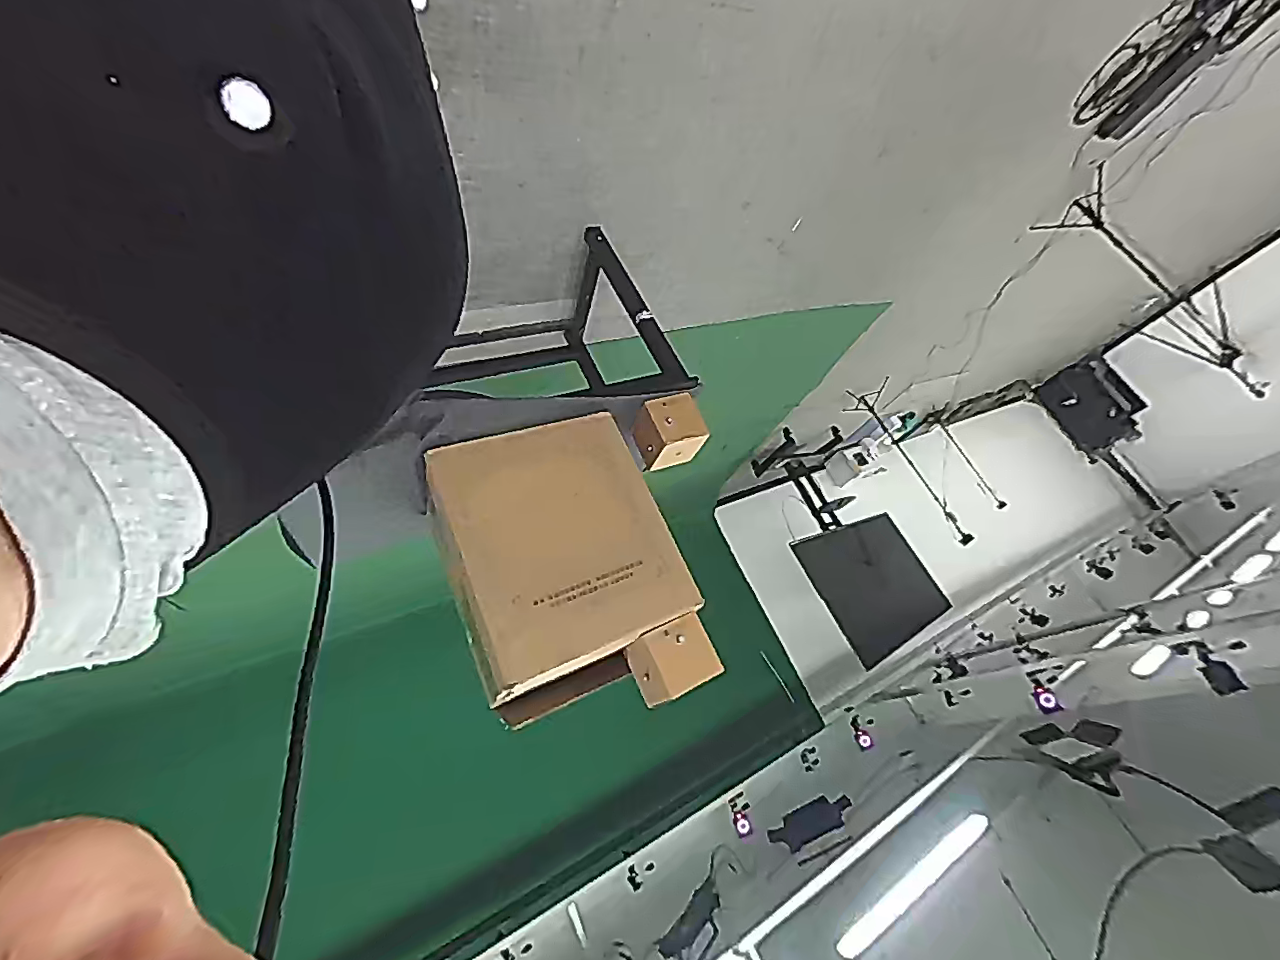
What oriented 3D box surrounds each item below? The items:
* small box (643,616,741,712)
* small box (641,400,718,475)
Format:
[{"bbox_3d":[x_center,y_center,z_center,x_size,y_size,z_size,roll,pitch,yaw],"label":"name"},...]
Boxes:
[{"bbox_3d":[0.126,0.477,1.410,0.168,0.176,0.179,-19,157,-28],"label":"small box"},{"bbox_3d":[0.120,-0.145,1.751,0.168,0.176,0.179,-16,159,-24],"label":"small box"}]
